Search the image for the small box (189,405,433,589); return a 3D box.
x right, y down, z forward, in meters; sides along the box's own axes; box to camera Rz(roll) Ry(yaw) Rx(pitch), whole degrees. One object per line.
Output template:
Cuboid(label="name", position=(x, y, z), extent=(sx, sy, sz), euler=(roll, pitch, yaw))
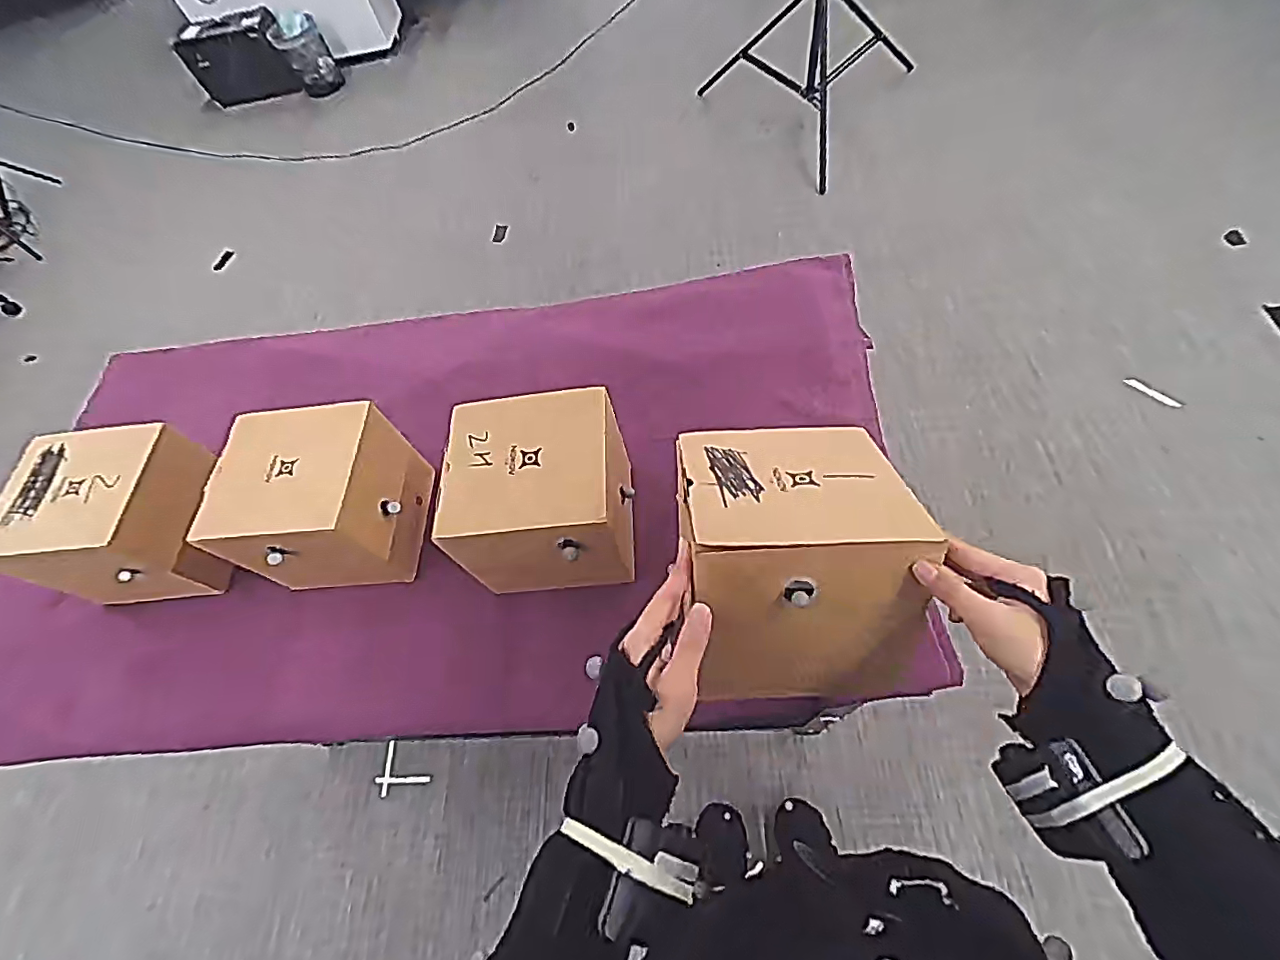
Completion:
Cuboid(label="small box", position=(-0.382, 0.029, 0.668), extent=(0.179, 0.176, 0.168), euler=(-5, 61, 8))

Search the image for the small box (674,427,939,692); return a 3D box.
Cuboid(label="small box", position=(0.124, 0.068, 0.479), extent=(0.179, 0.176, 0.168), euler=(-3, 33, 1))

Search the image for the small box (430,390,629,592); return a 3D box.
Cuboid(label="small box", position=(-0.108, 0.020, 0.620), extent=(0.179, 0.176, 0.168), euler=(-6, 59, 7))
